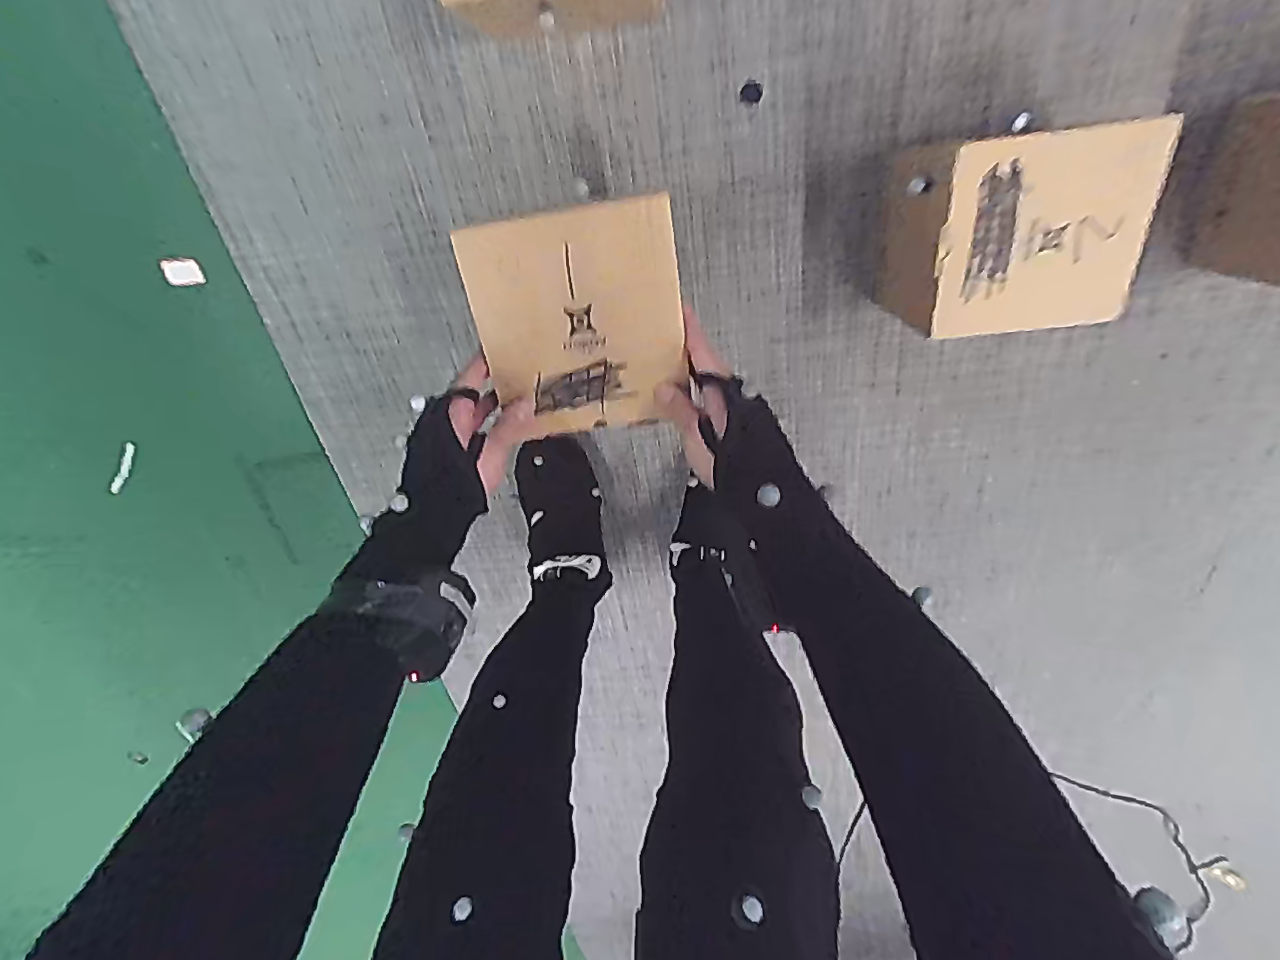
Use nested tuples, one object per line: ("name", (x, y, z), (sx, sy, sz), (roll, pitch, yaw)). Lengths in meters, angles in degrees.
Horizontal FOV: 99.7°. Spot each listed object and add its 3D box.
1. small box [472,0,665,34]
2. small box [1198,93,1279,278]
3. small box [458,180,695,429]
("small box", (-0.068, -0.486, 0.434), (0.179, 0.176, 0.168), (-3, 120, 6))
("small box", (0.702, -0.286, 0.506), (0.179, 0.176, 0.168), (-7, 119, 7))
("small box", (-0.041, -0.168, 0.501), (0.168, 0.176, 0.179), (-7, 119, 5))
